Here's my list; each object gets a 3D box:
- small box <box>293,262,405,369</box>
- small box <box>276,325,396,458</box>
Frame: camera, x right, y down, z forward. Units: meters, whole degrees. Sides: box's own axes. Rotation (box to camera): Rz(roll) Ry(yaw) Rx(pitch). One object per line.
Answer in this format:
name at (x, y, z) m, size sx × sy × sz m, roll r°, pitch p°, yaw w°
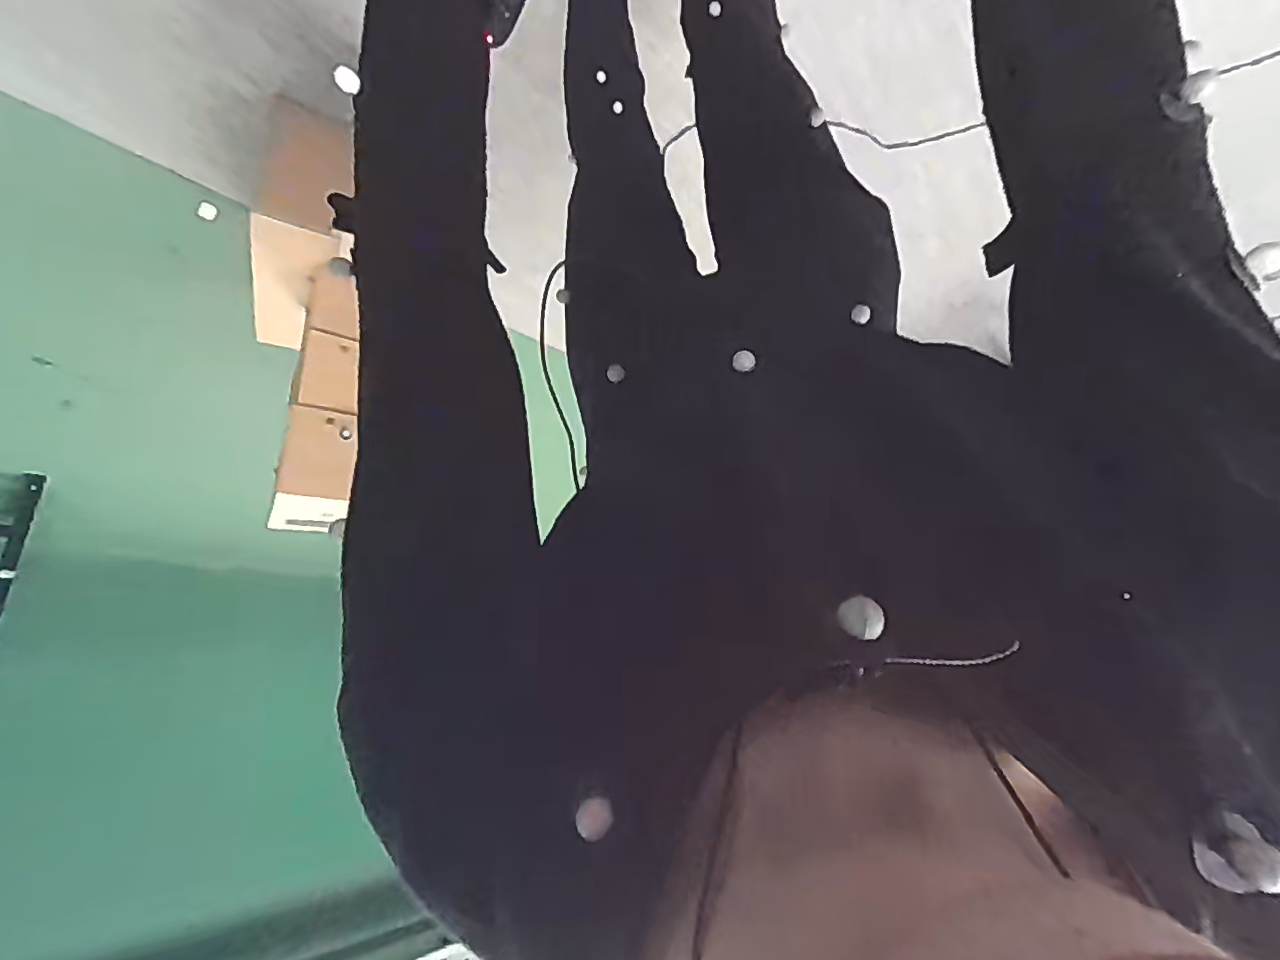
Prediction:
small box at (-0.595, -0.312, 1.109) m, size 0.179 × 0.176 × 0.168 m, roll 11°, pitch 152°, yaw -36°
small box at (-0.581, -0.165, 1.042) m, size 0.168 × 0.176 × 0.179 m, roll 11°, pitch 151°, yaw -37°
